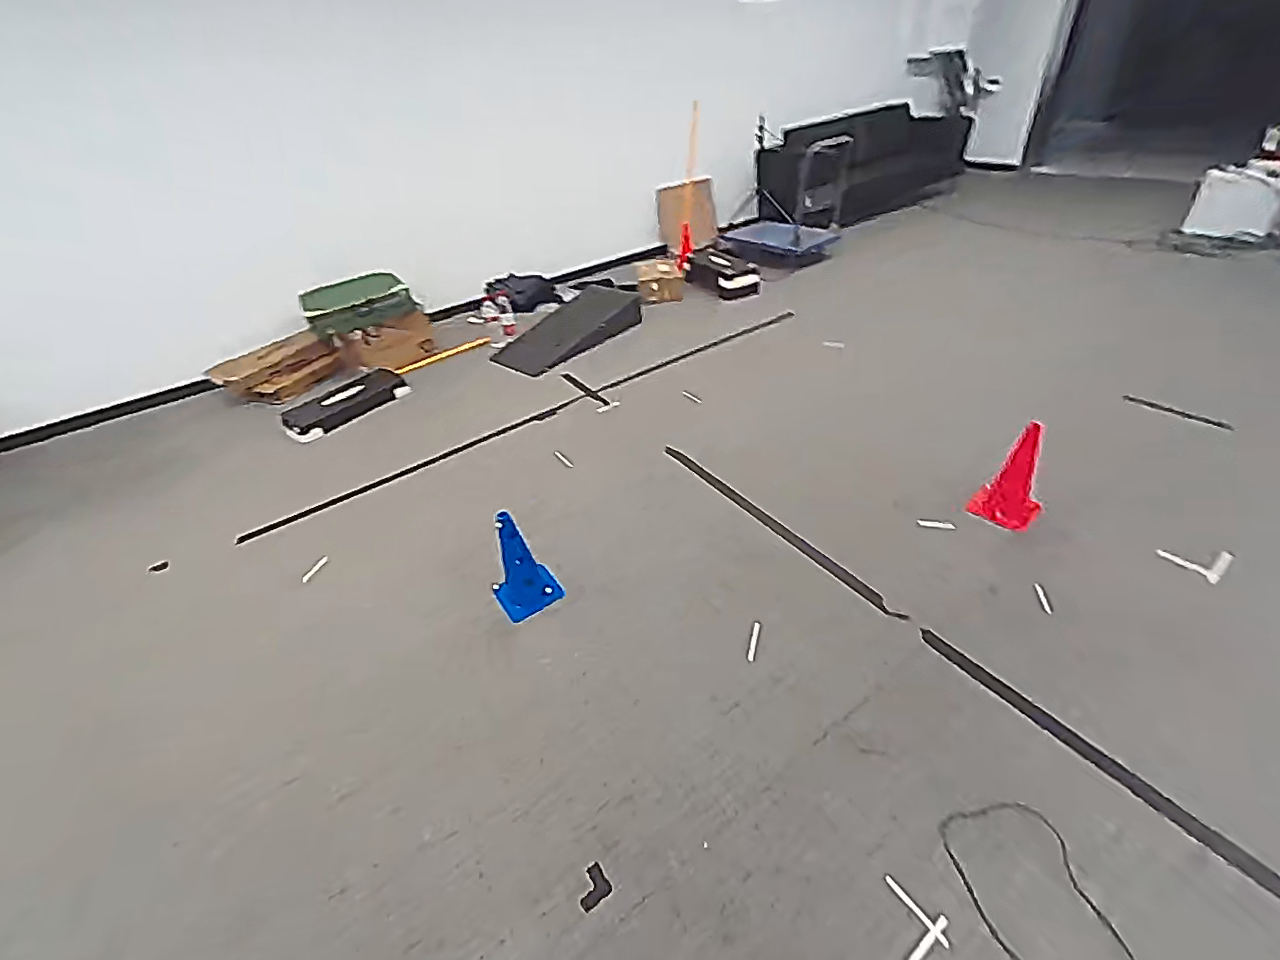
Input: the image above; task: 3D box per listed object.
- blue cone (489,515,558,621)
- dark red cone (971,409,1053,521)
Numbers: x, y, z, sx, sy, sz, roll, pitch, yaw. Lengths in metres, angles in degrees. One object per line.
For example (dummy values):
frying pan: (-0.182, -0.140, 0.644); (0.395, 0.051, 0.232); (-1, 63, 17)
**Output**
blue cone: (-0.412, 0.257, 1.757); (0.192, 0.380, 0.193); (-27, 41, -22)
dark red cone: (1.316, -0.067, 1.847); (0.201, 0.394, 0.202); (-33, 44, -28)
